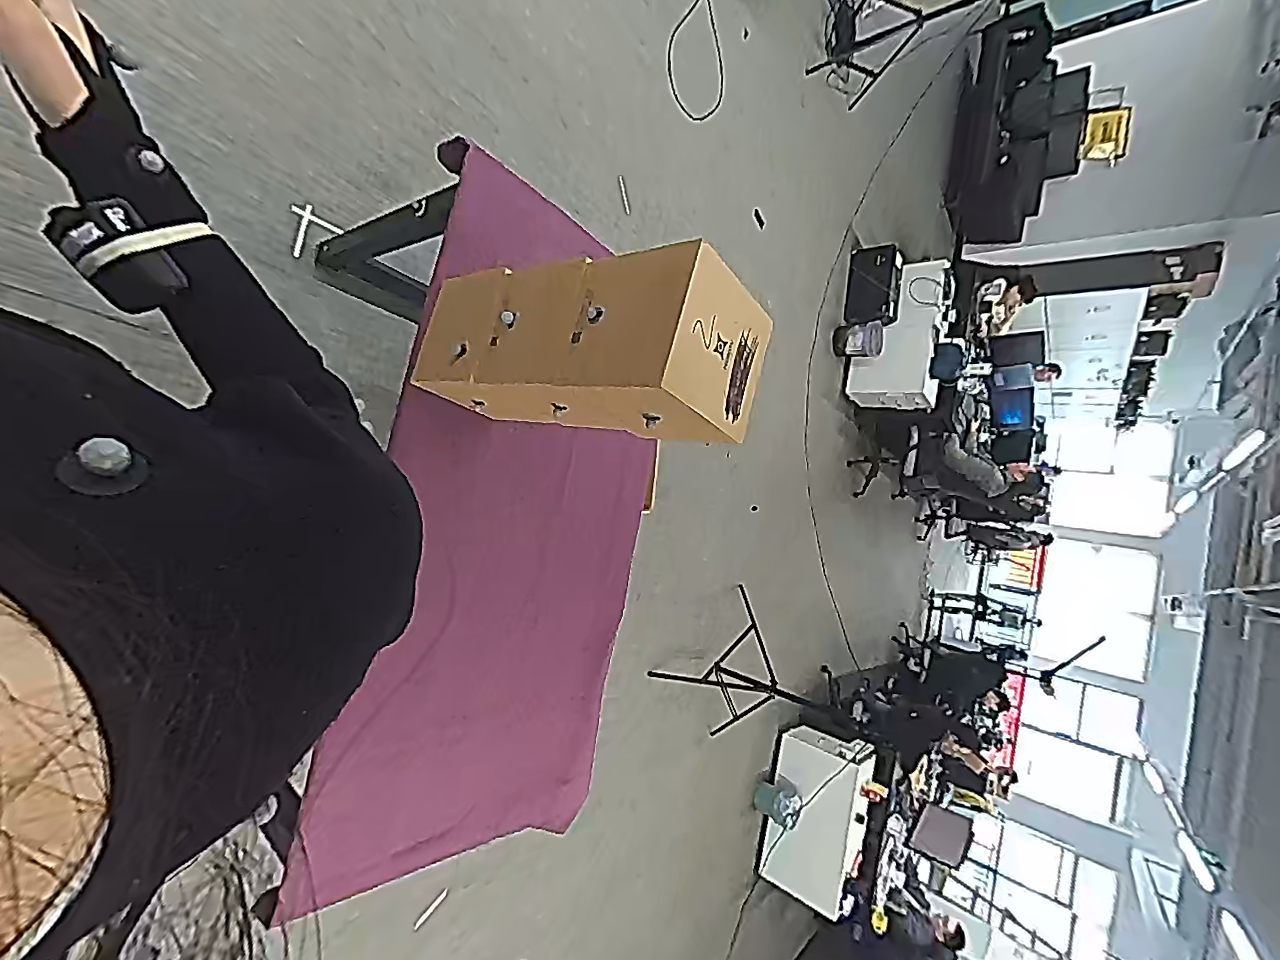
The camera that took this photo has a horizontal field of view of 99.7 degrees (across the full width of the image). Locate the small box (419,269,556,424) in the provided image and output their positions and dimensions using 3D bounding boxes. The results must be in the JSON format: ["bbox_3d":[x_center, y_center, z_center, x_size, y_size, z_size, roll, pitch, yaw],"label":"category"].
[{"bbox_3d":[-0.220,-0.200,0.853,0.168,0.176,0.179,25,77,-50],"label":"small box"}]

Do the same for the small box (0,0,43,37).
[{"bbox_3d":[-0.439,-0.373,0.274,0.168,0.176,0.179,-2,106,-58],"label":"small box"}]

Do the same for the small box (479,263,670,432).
[{"bbox_3d":[-0.090,-0.176,0.756,0.179,0.176,0.168,23,79,-49],"label":"small box"}]
